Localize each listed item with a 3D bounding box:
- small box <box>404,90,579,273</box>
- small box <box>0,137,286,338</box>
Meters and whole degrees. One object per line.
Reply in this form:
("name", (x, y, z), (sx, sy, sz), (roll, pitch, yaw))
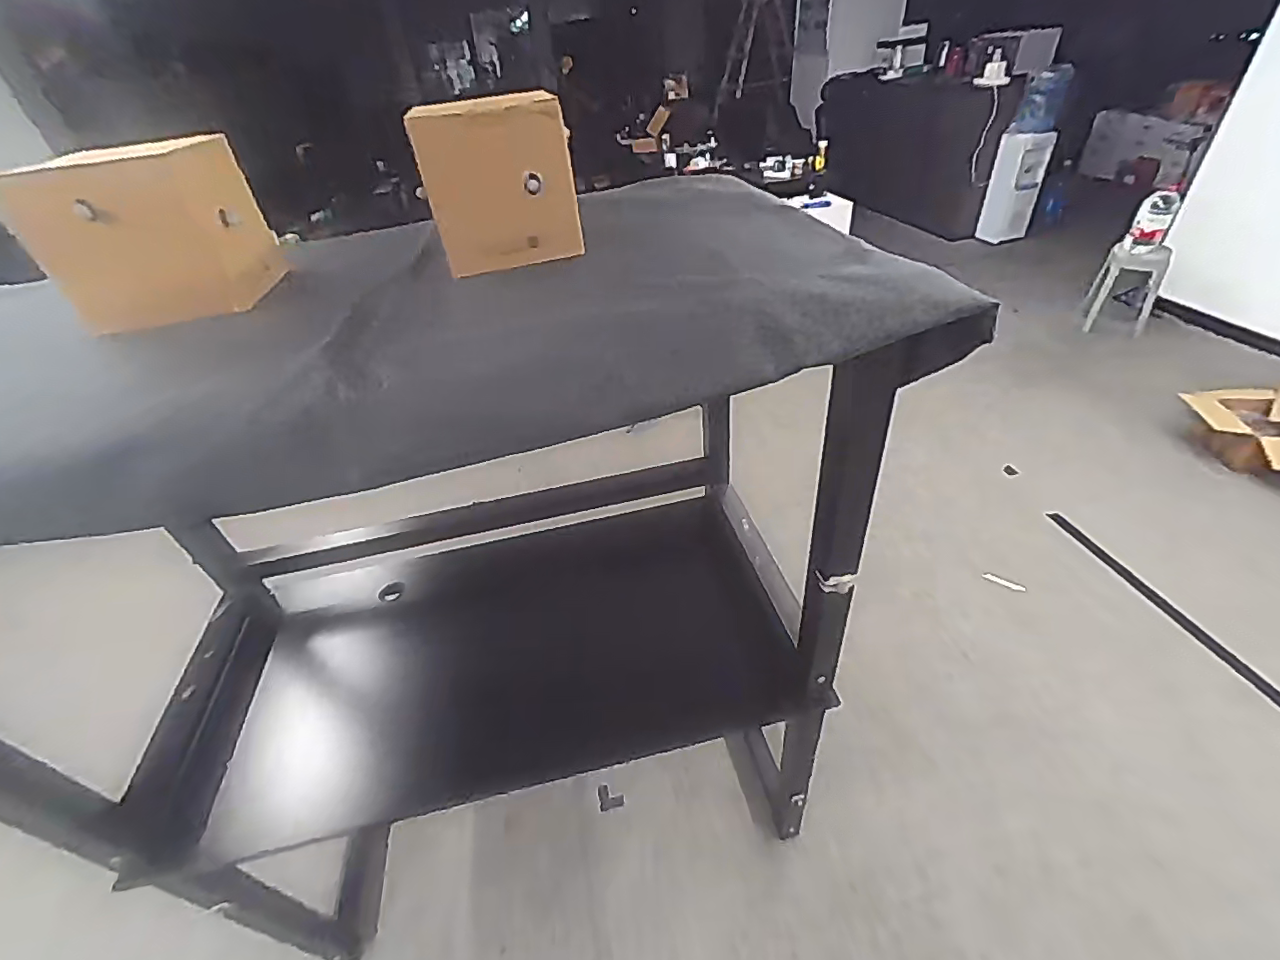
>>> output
("small box", (-0.179, -0.374, 0.684), (0.168, 0.176, 0.179), (-13, 40, -7))
("small box", (-0.569, -0.290, 0.647), (0.179, 0.176, 0.168), (-12, 40, -4))
